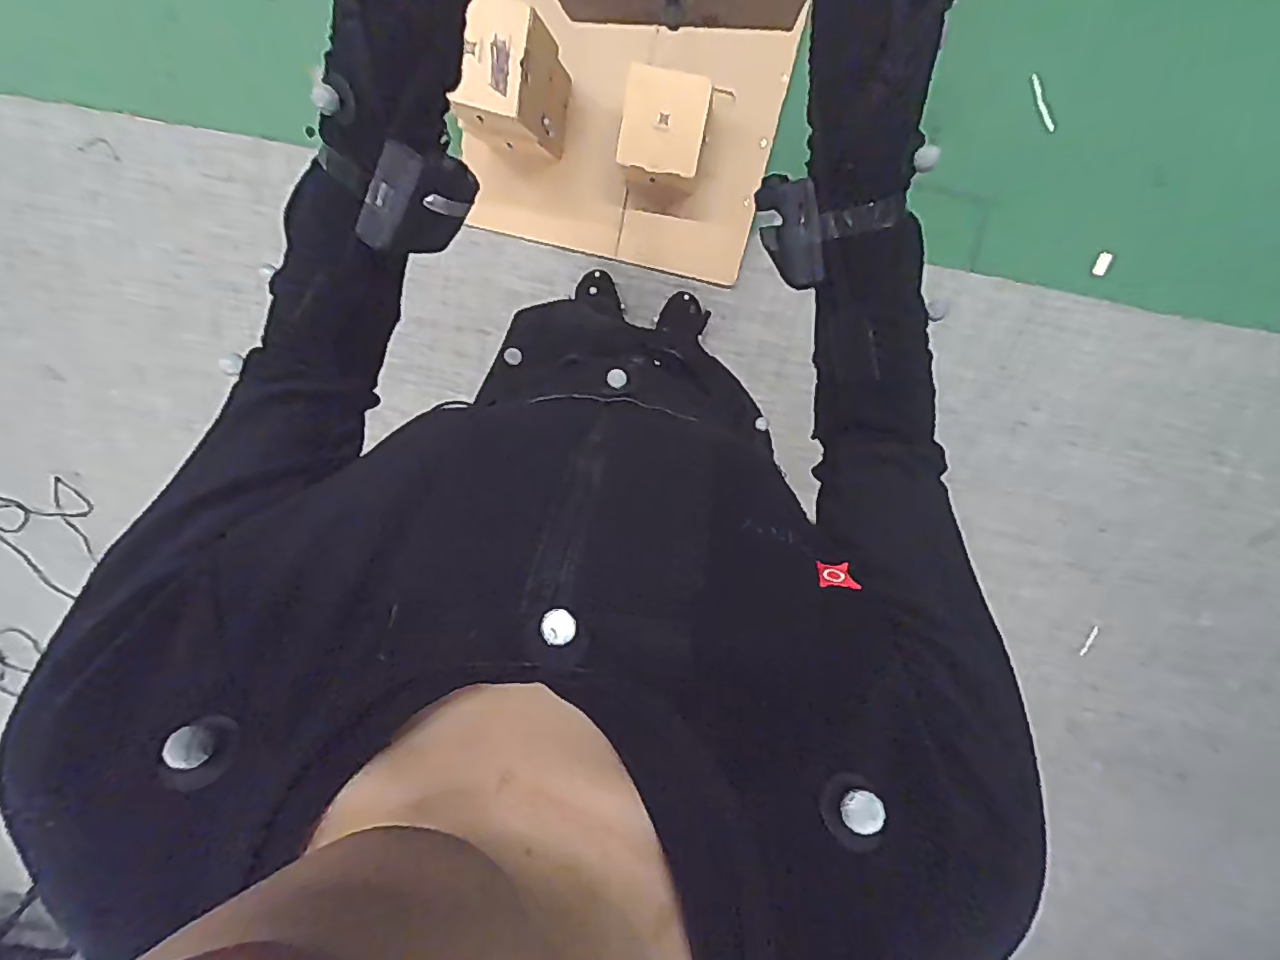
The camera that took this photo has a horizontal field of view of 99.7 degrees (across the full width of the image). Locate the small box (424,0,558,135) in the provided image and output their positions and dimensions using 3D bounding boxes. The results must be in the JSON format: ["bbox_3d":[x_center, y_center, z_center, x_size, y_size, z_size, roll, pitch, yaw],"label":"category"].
[{"bbox_3d":[-0.261,-0.750,0.976,0.179,0.176,0.168,16,111,2],"label":"small box"}]

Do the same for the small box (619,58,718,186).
[{"bbox_3d":[0.059,-0.735,1.128,0.168,0.176,0.179,11,112,2],"label":"small box"}]
